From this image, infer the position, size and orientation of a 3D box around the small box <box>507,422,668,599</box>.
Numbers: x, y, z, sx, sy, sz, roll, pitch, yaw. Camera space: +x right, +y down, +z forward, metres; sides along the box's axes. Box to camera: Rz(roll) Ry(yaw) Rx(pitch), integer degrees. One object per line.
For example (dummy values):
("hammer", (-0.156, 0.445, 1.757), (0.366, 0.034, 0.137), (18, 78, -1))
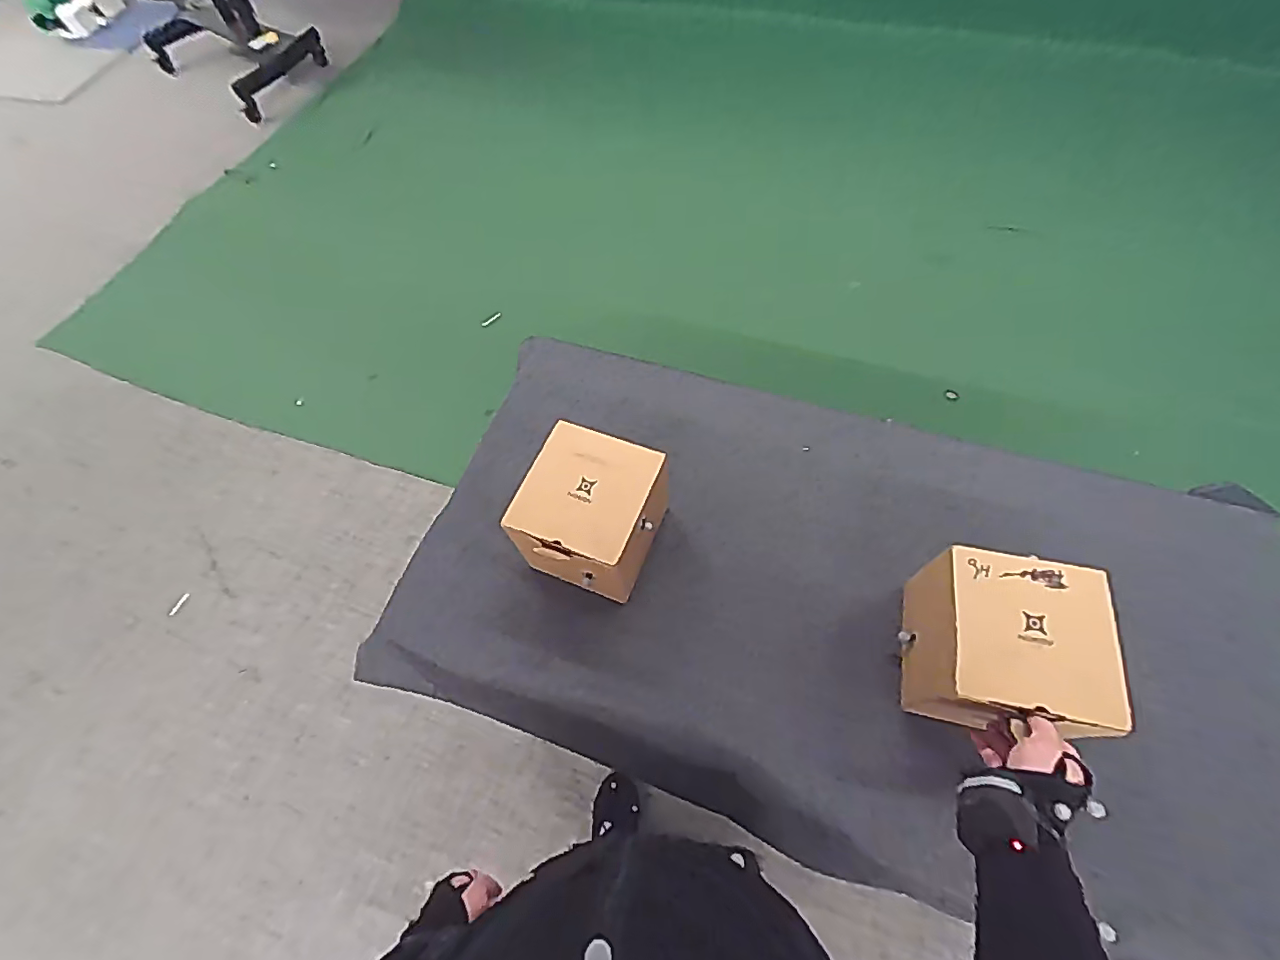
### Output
("small box", (-0.063, 0.051, 0.789), (0.168, 0.176, 0.179), (20, 64, 13))

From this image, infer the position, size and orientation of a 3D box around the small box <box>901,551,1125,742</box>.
("small box", (0.435, 0.210, 0.663), (0.168, 0.176, 0.179), (11, 64, 10))
